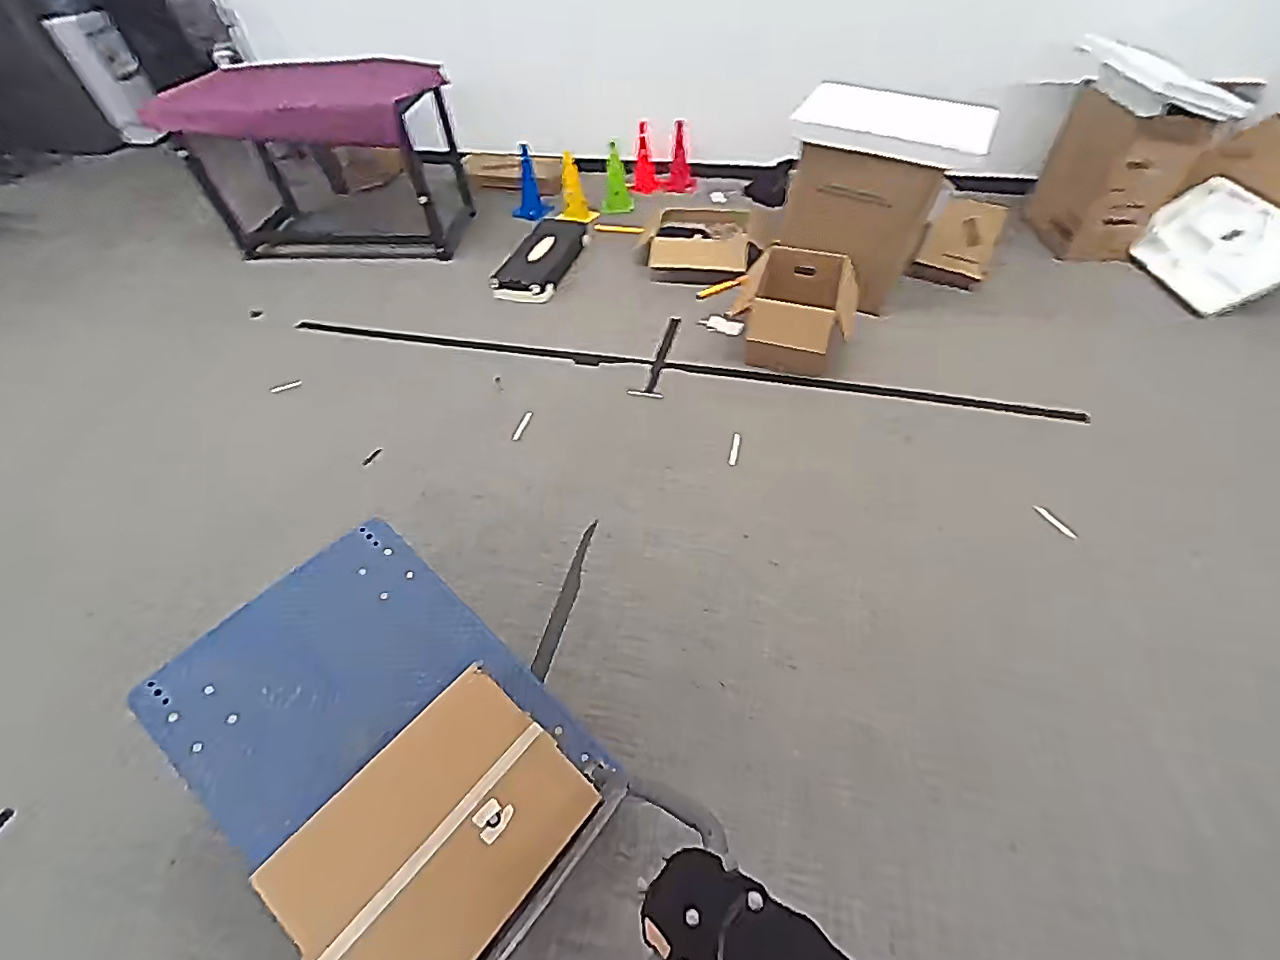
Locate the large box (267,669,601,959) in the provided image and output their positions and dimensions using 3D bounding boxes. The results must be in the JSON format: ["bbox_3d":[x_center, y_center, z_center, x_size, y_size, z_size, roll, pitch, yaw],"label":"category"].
[{"bbox_3d":[-0.328,0.622,0.963,0.320,0.320,0.408,41,60,10],"label":"large box"}]
